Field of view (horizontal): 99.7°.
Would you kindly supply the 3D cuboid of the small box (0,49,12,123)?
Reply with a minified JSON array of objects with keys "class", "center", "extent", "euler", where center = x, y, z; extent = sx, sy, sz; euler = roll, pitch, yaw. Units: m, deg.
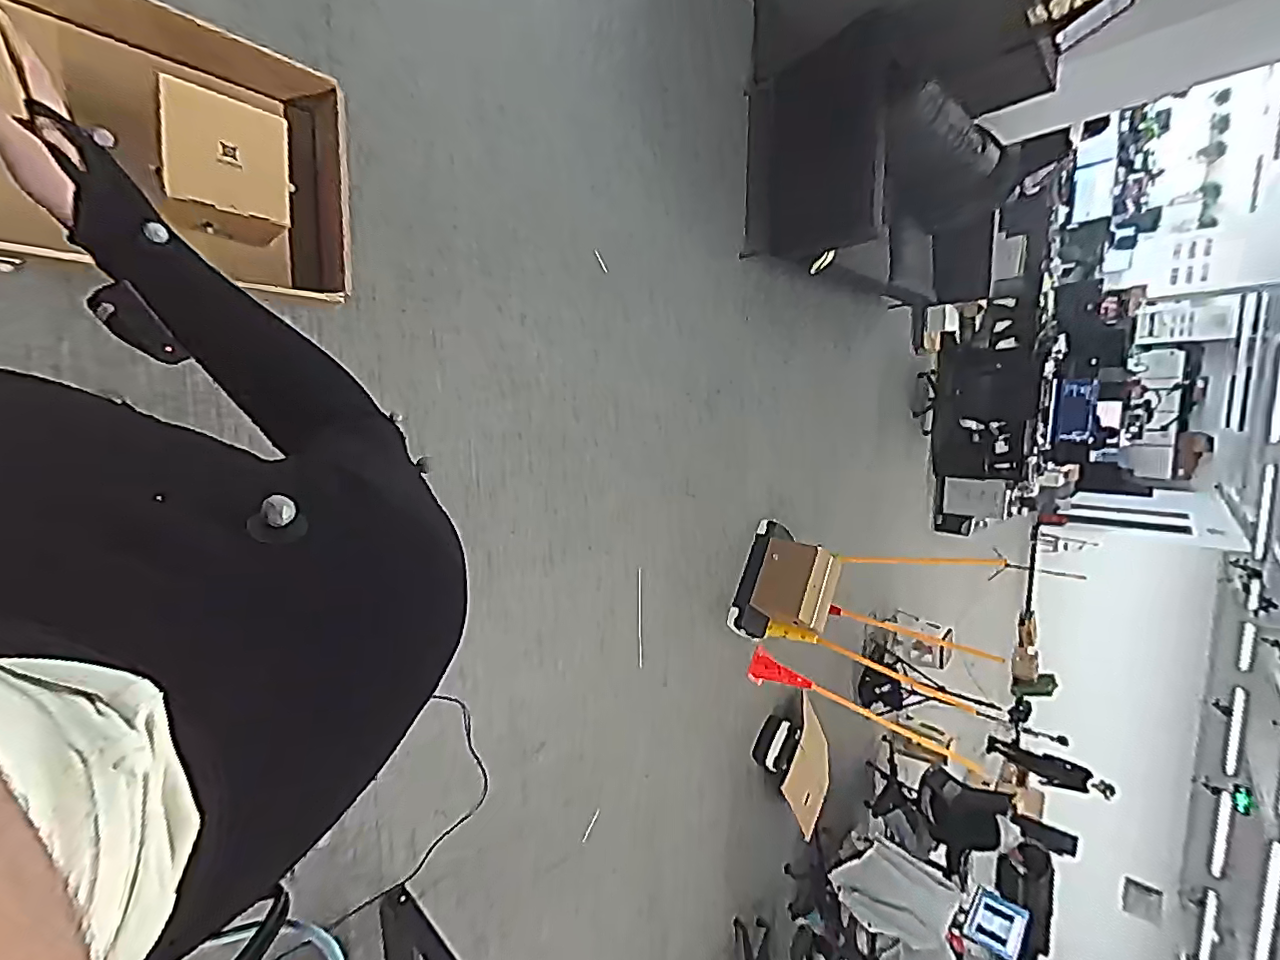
[{"class":"small box","center":[-0.580,-0.355,0.364],"extent":[0.179,0.176,0.168],"euler":[-22,120,-45]}]

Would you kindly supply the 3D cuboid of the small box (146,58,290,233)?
[{"class":"small box","center":[-0.704,-0.539,0.903],"extent":[0.168,0.176,0.179],"euler":[-4,99,-47]}]
